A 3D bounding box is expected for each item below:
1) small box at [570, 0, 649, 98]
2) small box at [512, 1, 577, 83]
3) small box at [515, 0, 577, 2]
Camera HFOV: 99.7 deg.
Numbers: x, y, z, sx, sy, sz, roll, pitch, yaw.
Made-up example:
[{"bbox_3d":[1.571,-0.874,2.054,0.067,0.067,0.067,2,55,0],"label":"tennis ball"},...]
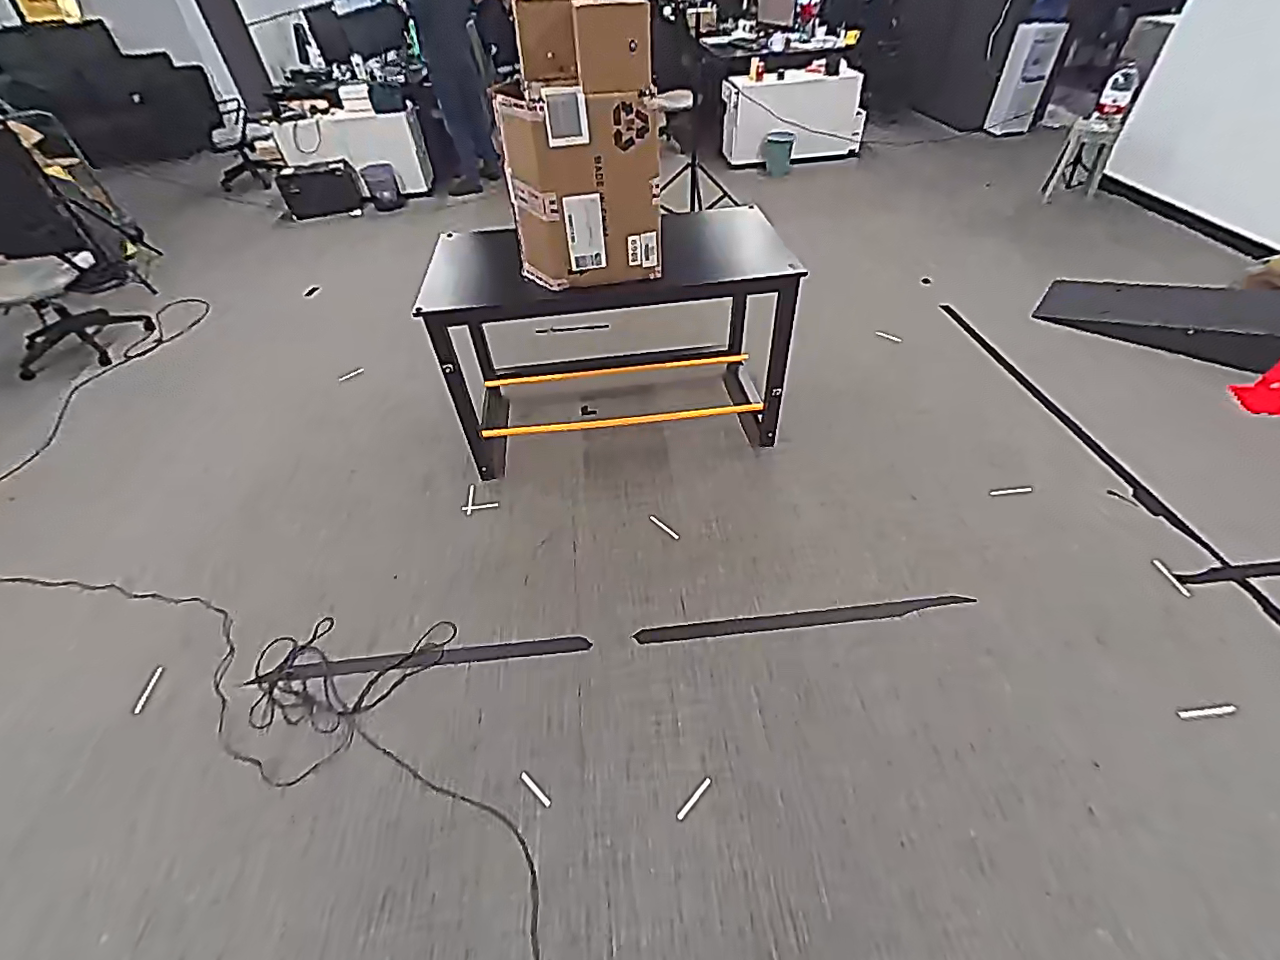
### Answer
[{"bbox_3d":[-0.074,-1.076,1.351,0.179,0.176,0.168,-8,45,-4],"label":"small box"},{"bbox_3d":[-0.254,-1.206,1.486,0.168,0.176,0.179,-10,44,-8],"label":"small box"},{"bbox_3d":[-0.251,-1.322,1.367,0.168,0.176,0.179,-11,44,-9],"label":"small box"}]
